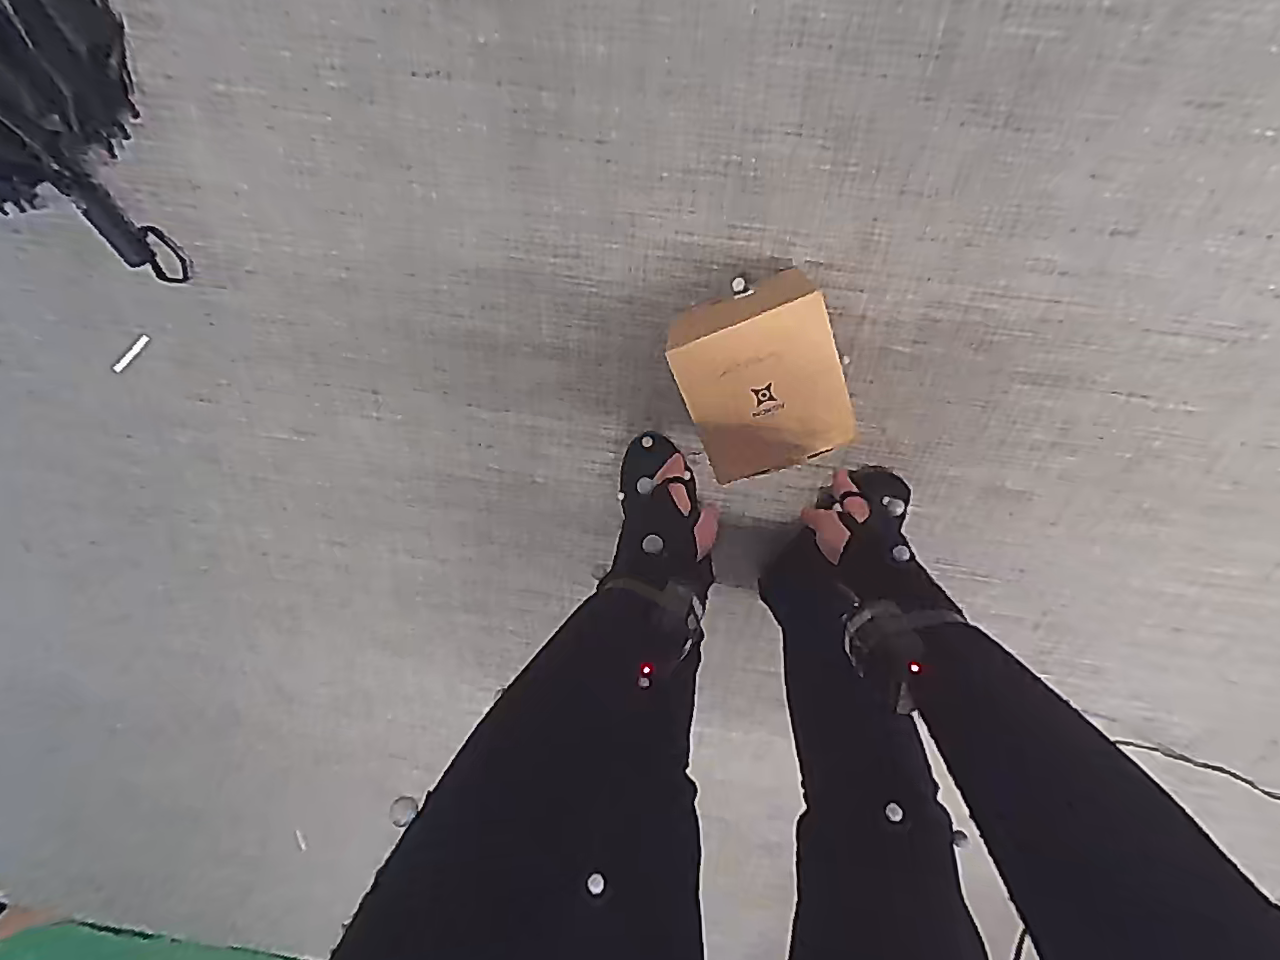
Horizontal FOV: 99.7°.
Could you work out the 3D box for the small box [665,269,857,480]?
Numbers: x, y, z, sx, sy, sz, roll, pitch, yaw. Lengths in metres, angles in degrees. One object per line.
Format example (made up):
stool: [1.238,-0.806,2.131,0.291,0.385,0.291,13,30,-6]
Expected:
small box: [0.141,-0.132,0.655,0.168,0.176,0.179,-20,114,16]
